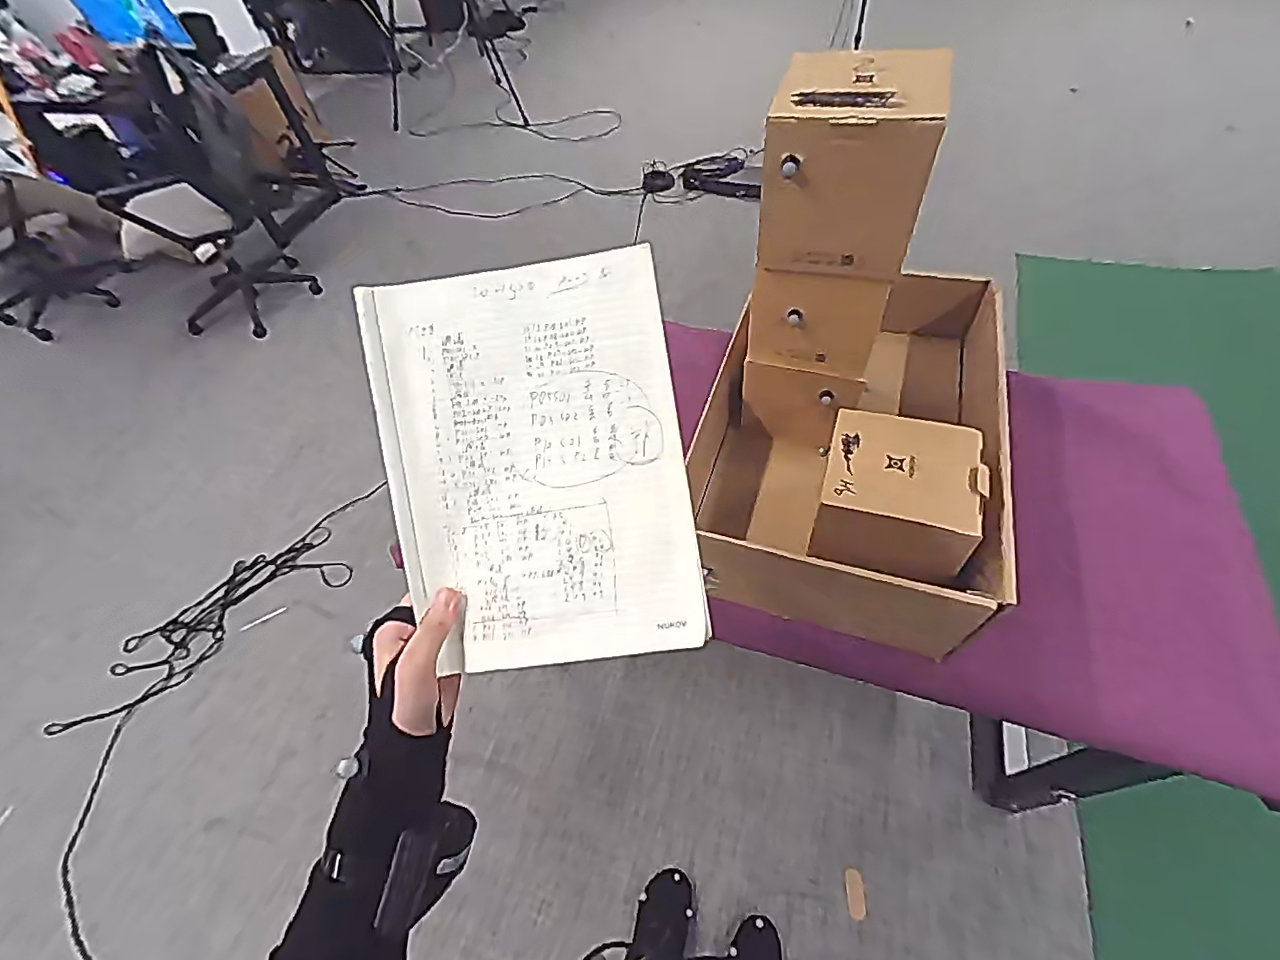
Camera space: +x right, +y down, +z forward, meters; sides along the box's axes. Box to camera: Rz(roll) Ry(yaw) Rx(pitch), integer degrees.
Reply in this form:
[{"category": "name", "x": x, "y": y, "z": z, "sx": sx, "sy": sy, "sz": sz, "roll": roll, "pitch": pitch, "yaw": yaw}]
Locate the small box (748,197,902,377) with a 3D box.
[{"category": "small box", "x": 0.254, "y": -0.270, "z": 0.765, "sx": 0.168, "sy": 0.176, "sz": 0.179, "roll": 14, "pitch": 57, "yaw": 17}]
